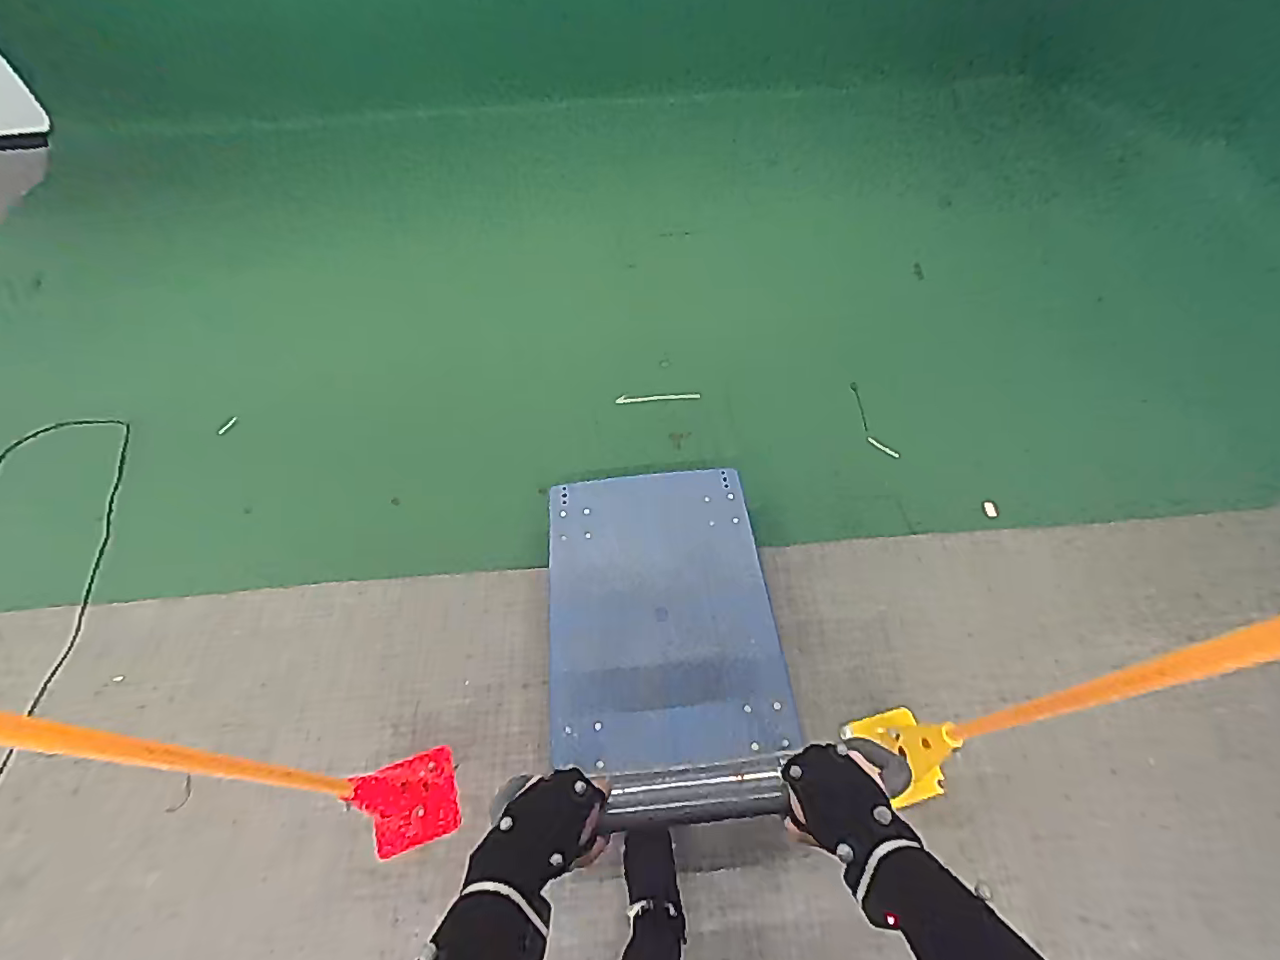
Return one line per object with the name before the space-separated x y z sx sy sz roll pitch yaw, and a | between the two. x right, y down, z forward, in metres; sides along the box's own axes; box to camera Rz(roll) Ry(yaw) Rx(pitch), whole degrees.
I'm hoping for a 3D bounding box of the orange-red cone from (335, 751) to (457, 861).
orange-red cone | -0.559 0.695 1.176 0.199 0.360 0.198 -17 57 -8
